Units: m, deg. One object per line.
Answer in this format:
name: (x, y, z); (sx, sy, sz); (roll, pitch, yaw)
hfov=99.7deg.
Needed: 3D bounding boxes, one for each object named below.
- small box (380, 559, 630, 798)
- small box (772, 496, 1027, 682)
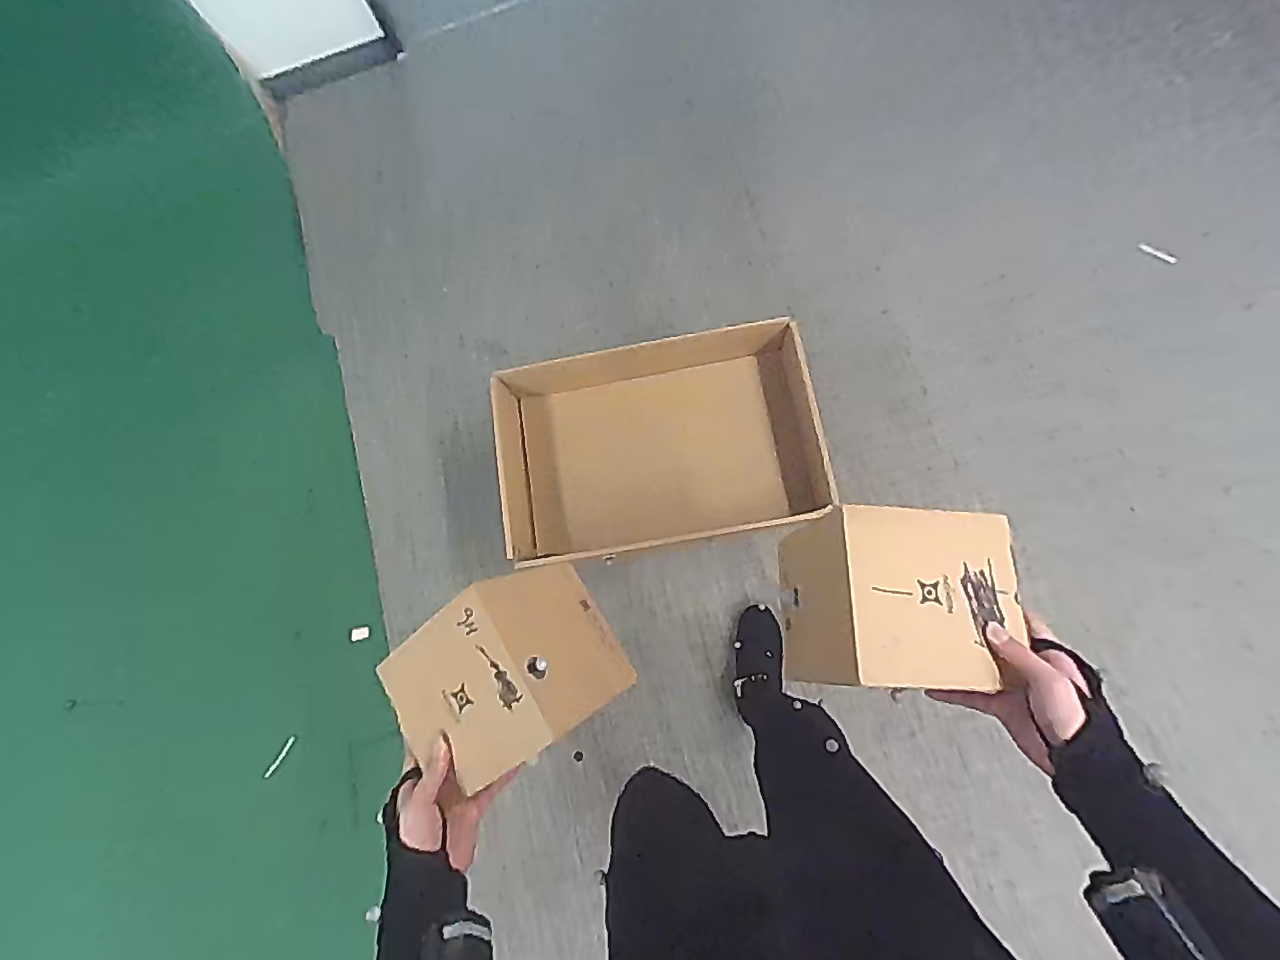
small box: (-0.144, 0.207, 0.605); (0.179, 0.176, 0.168); (-40, 73, 22)
small box: (0.256, 0.123, 0.577); (0.179, 0.176, 0.168); (3, 71, -5)
